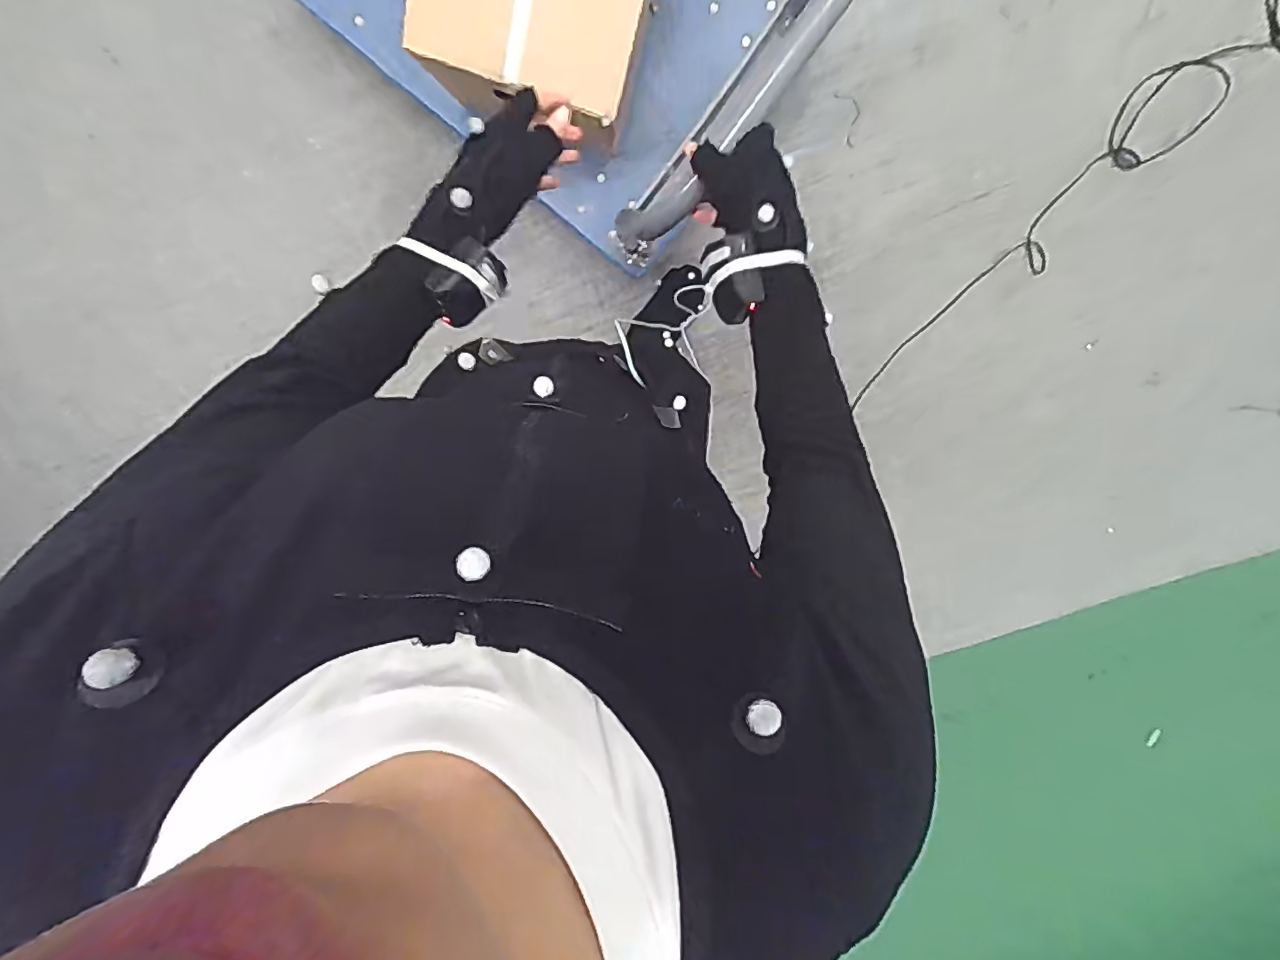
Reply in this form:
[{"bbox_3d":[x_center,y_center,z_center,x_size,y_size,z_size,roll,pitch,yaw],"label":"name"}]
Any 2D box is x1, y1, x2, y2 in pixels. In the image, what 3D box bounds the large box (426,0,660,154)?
[{"bbox_3d":[-0.120,-0.808,0.864,0.320,0.320,0.408,14,112,-7],"label":"large box"}]
